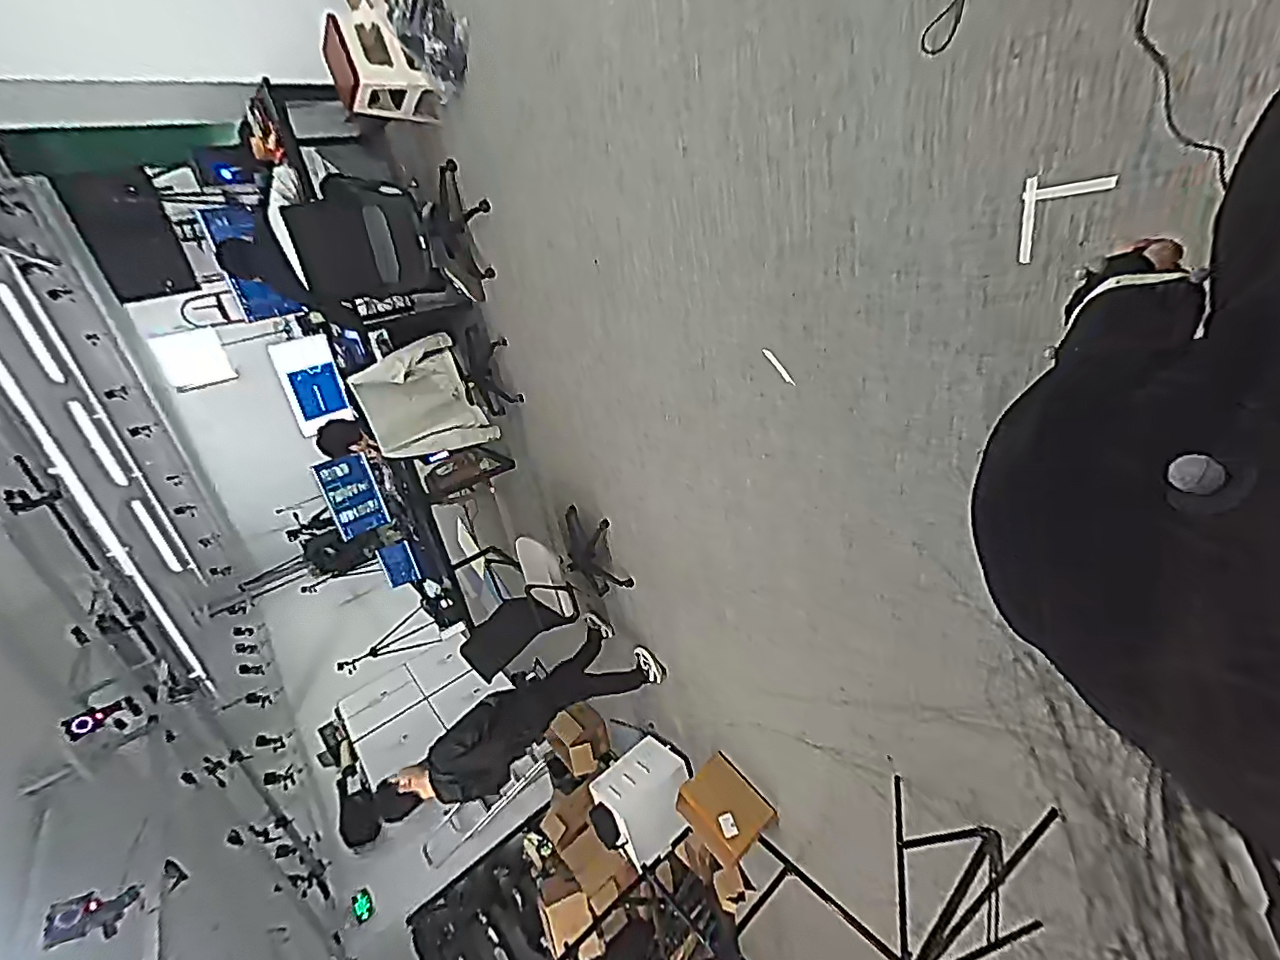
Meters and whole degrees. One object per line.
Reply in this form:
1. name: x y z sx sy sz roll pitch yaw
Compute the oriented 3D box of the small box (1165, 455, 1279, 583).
1. small box: 1.137 0.067 1.030 0.168 0.176 0.179 9 119 51
